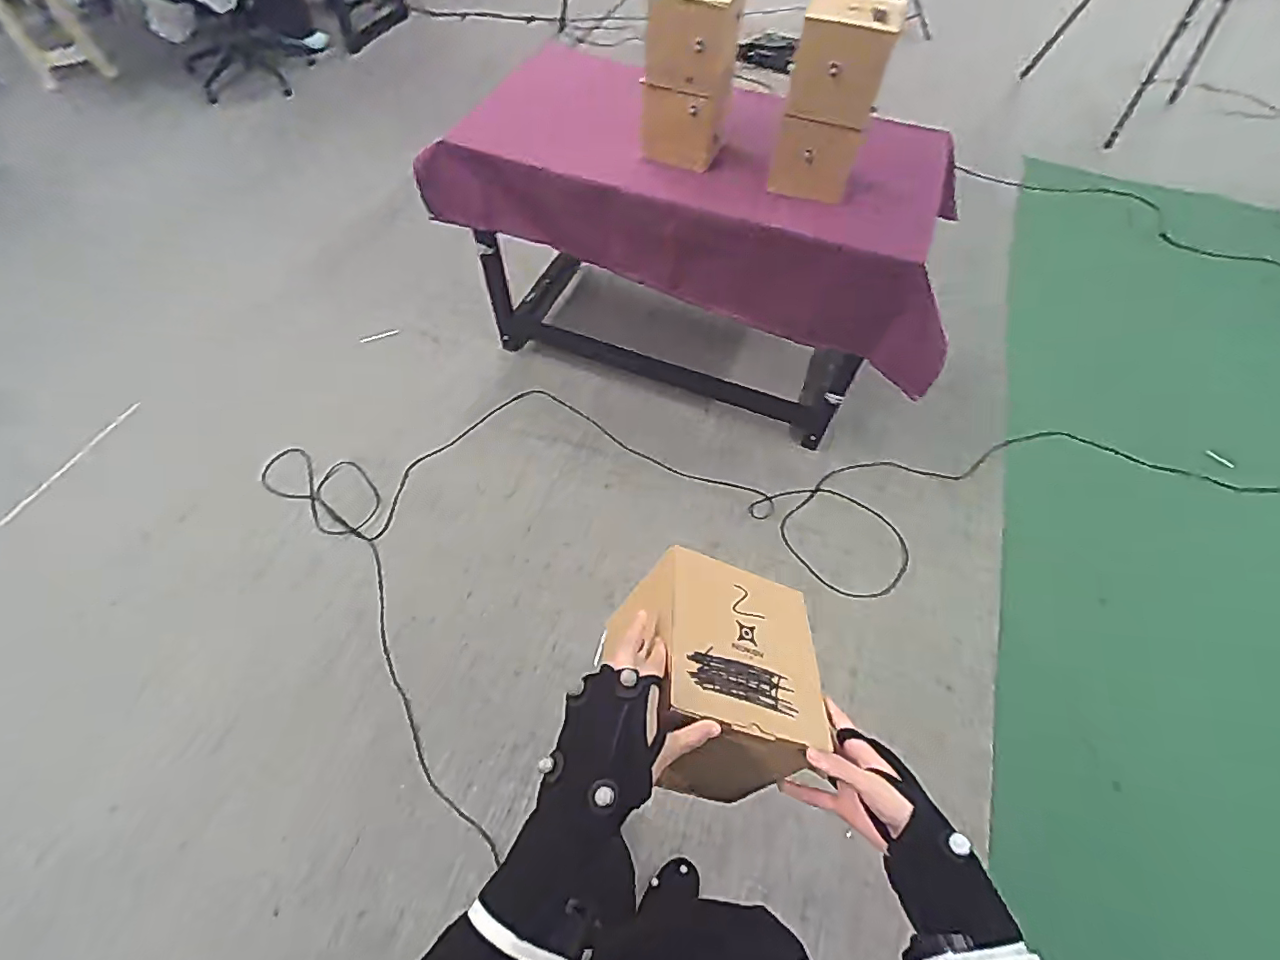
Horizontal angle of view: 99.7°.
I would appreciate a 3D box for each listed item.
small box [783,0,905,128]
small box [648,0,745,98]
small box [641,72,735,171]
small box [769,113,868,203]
[{"bbox_3d":[0.413,-0.857,1.110,0.179,0.176,0.168,18,59,10],"label":"small box"},{"bbox_3d":[0.121,-0.968,1.177,0.168,0.176,0.179,20,59,9],"label":"small box"},{"bbox_3d":[0.110,-0.885,1.316,0.179,0.176,0.168,21,60,10],"label":"small box"},{"bbox_3d":[0.411,-0.773,1.251,0.179,0.176,0.168,17,59,10],"label":"small box"}]
